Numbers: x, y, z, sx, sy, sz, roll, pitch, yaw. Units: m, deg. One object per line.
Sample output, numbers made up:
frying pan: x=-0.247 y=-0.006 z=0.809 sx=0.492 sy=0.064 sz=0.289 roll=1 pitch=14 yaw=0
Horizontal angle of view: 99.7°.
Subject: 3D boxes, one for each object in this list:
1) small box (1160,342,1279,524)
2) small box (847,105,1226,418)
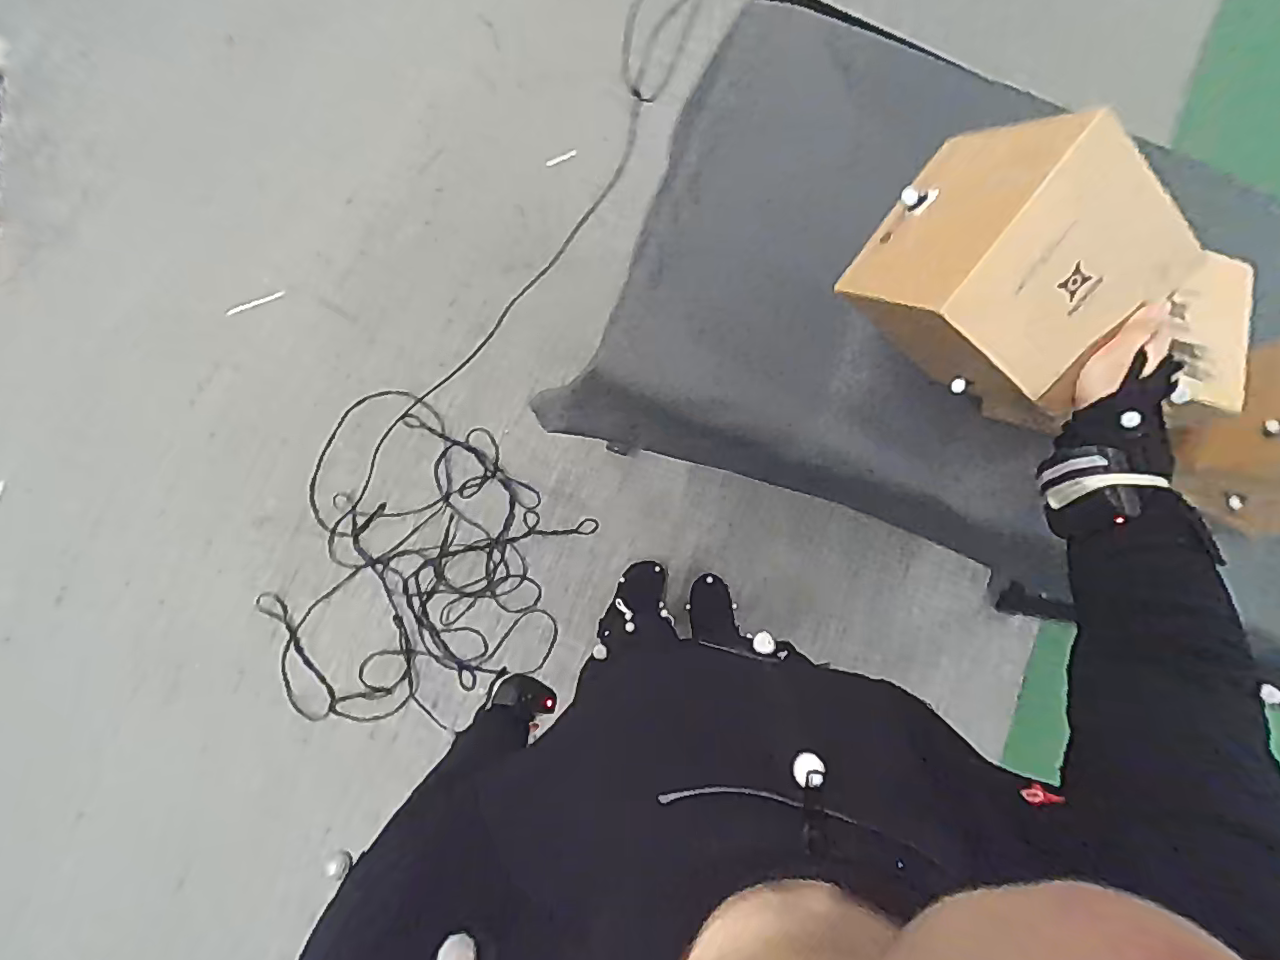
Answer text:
small box: x=0.797 y=-0.060 z=0.653 sx=0.168 sy=0.176 sz=0.179 roll=27 pitch=82 yaw=-1
small box: x=0.330 y=-0.188 z=0.483 sx=0.179 sy=0.176 sz=0.168 roll=28 pitch=108 yaw=-22
